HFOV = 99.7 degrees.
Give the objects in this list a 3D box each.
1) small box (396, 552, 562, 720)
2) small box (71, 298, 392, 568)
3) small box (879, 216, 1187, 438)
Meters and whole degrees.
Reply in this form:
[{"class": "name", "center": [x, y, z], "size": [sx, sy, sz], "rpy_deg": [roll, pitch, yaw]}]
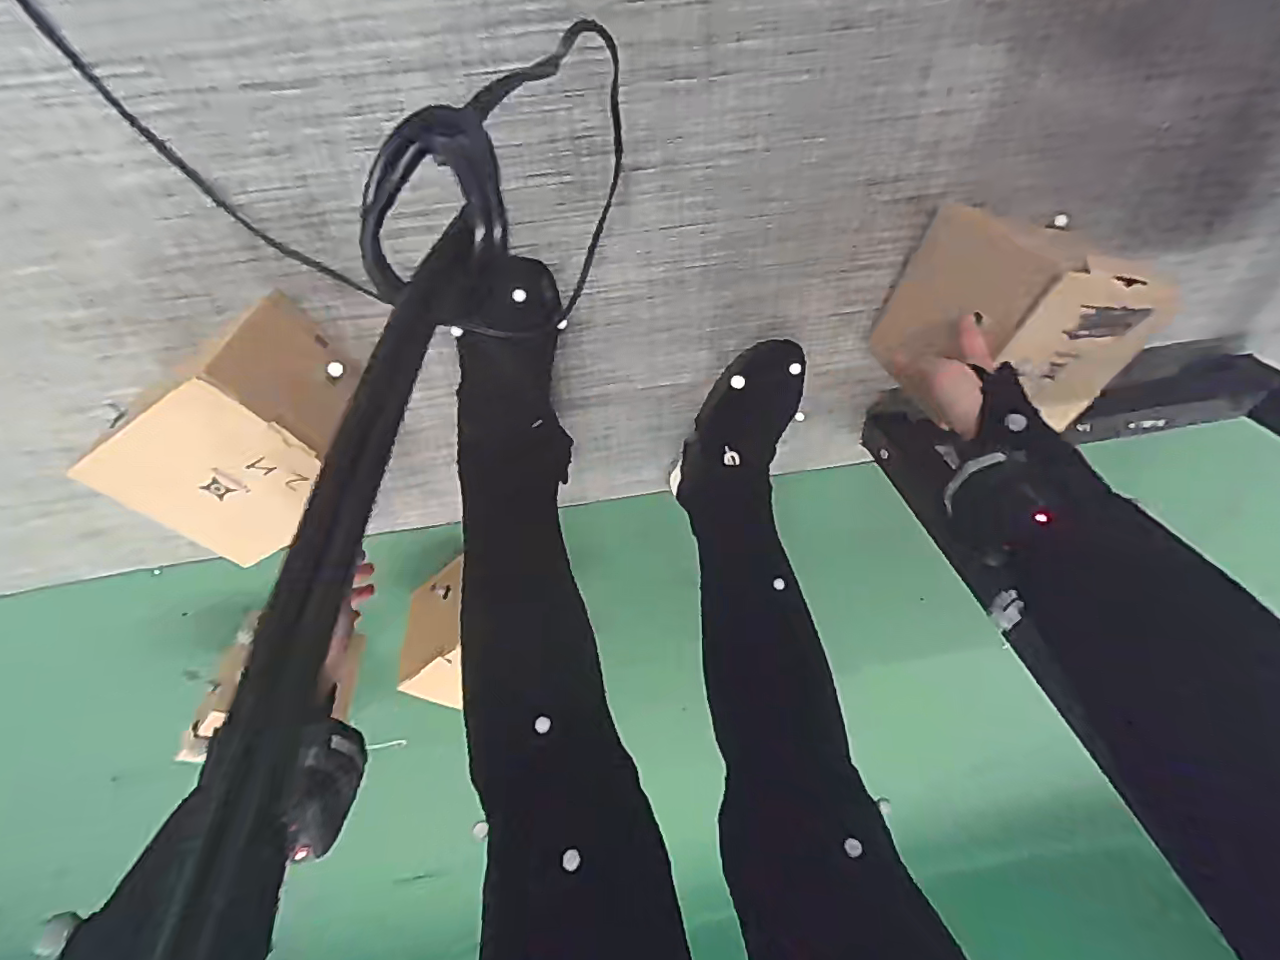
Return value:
[{"class": "small box", "center": [-0.239, 0.241, 0.841], "size": [0.168, 0.176, 0.179], "rpy_deg": [-36, 128, 20]}, {"class": "small box", "center": [-0.384, -0.048, 0.549], "size": [0.179, 0.176, 0.168], "rpy_deg": [-28, 131, 13]}, {"class": "small box", "center": [0.397, -0.166, 0.588], "size": [0.168, 0.176, 0.179], "rpy_deg": [0, 133, -16]}]
